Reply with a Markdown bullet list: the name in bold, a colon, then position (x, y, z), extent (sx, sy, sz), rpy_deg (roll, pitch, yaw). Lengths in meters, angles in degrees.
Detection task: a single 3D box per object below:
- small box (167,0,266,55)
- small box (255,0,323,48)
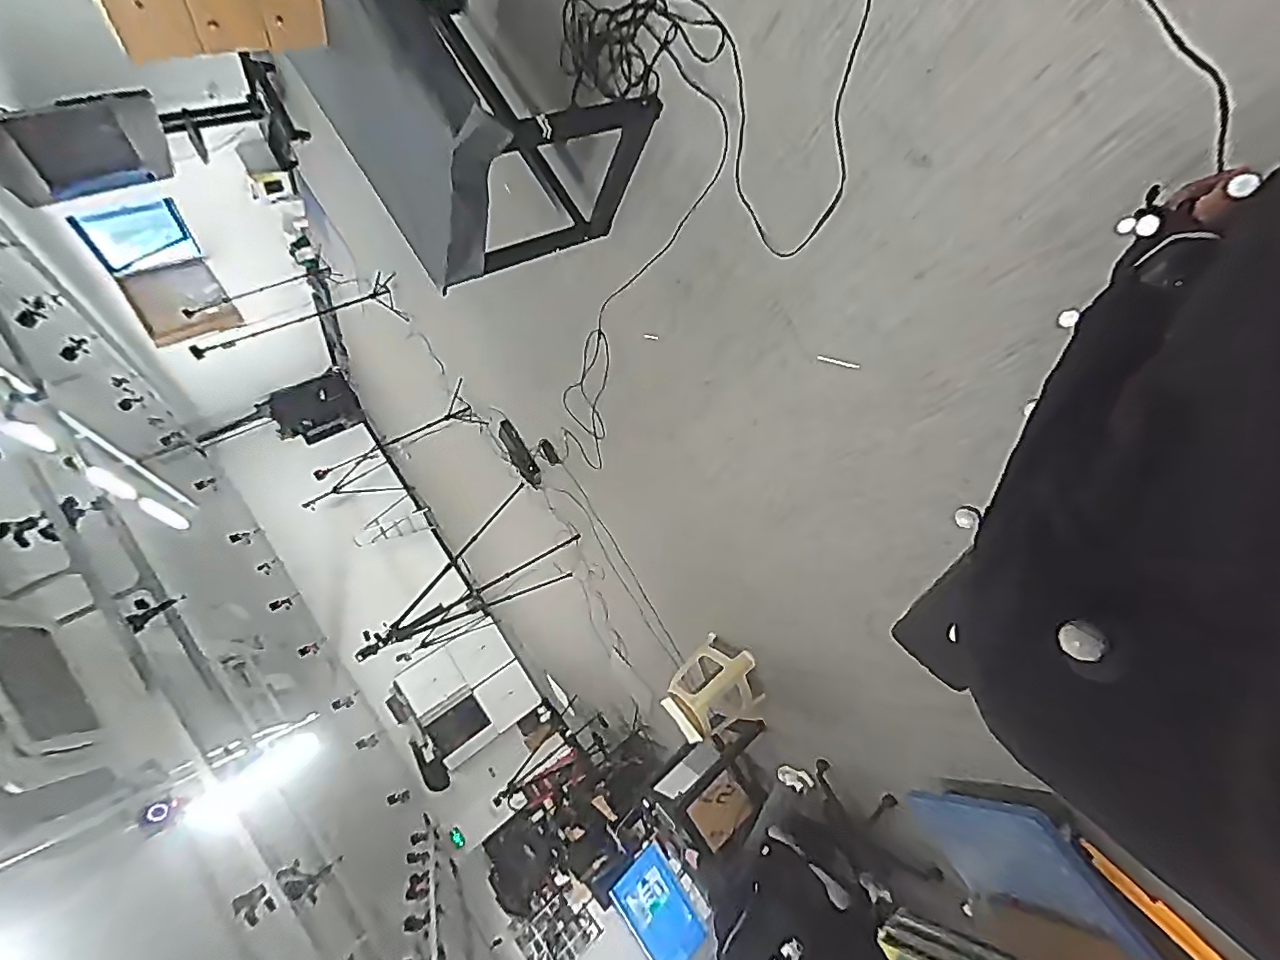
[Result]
- **small box**: position (-1.113, -1.258, 1.396), extent (0.168, 0.176, 0.179), rpy_deg (55, 154, 2)
- **small box**: position (-0.997, -1.337, 1.478), extent (0.168, 0.176, 0.179), rpy_deg (56, 152, 1)
